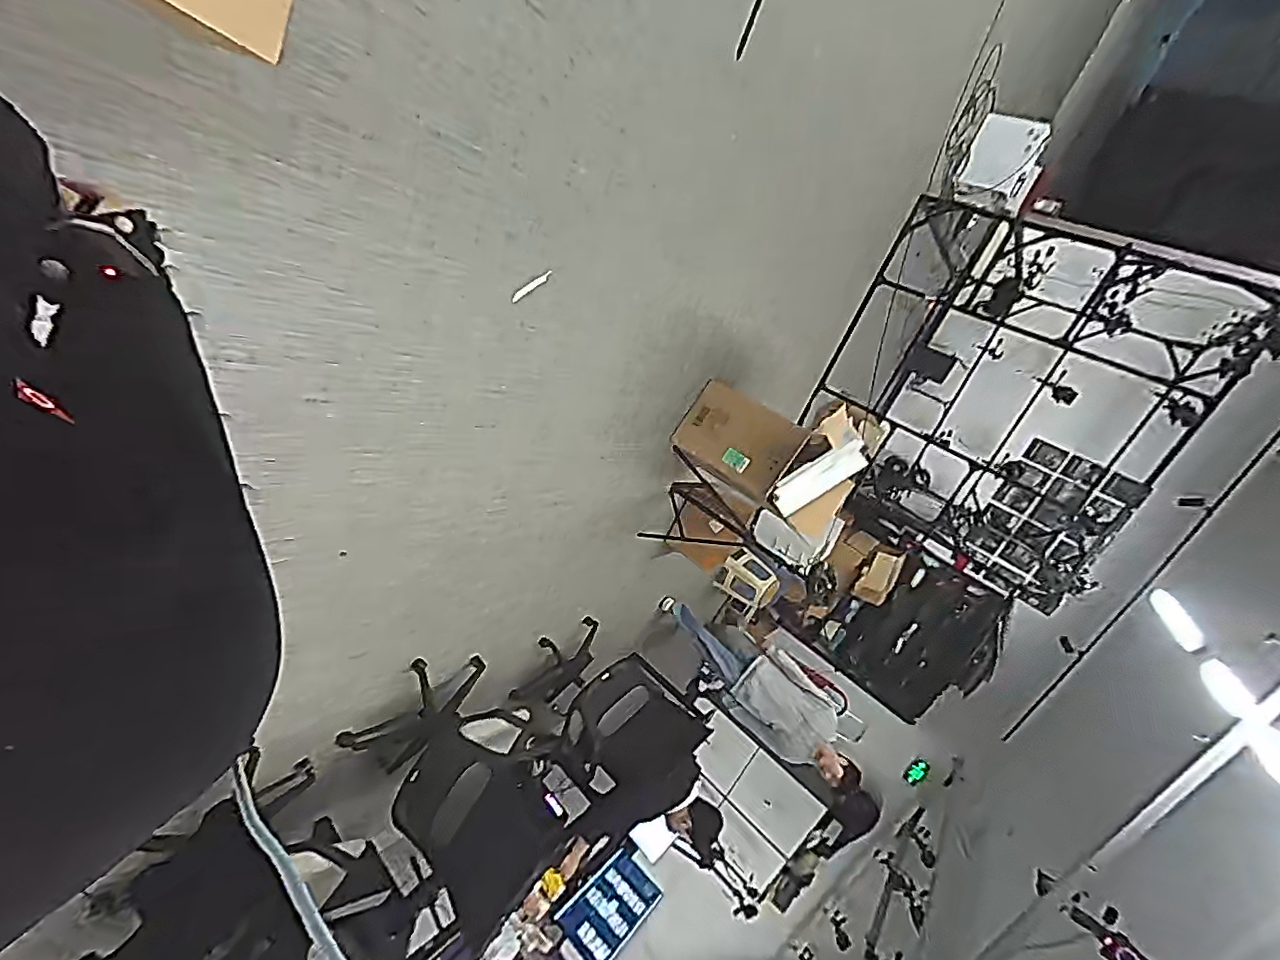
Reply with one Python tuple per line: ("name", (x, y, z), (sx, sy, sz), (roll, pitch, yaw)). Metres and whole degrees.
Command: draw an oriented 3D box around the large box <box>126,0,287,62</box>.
("large box", (-0.692, -0.812, 0.652), (0.408, 0.320, 0.320), (0, 121, -58))
